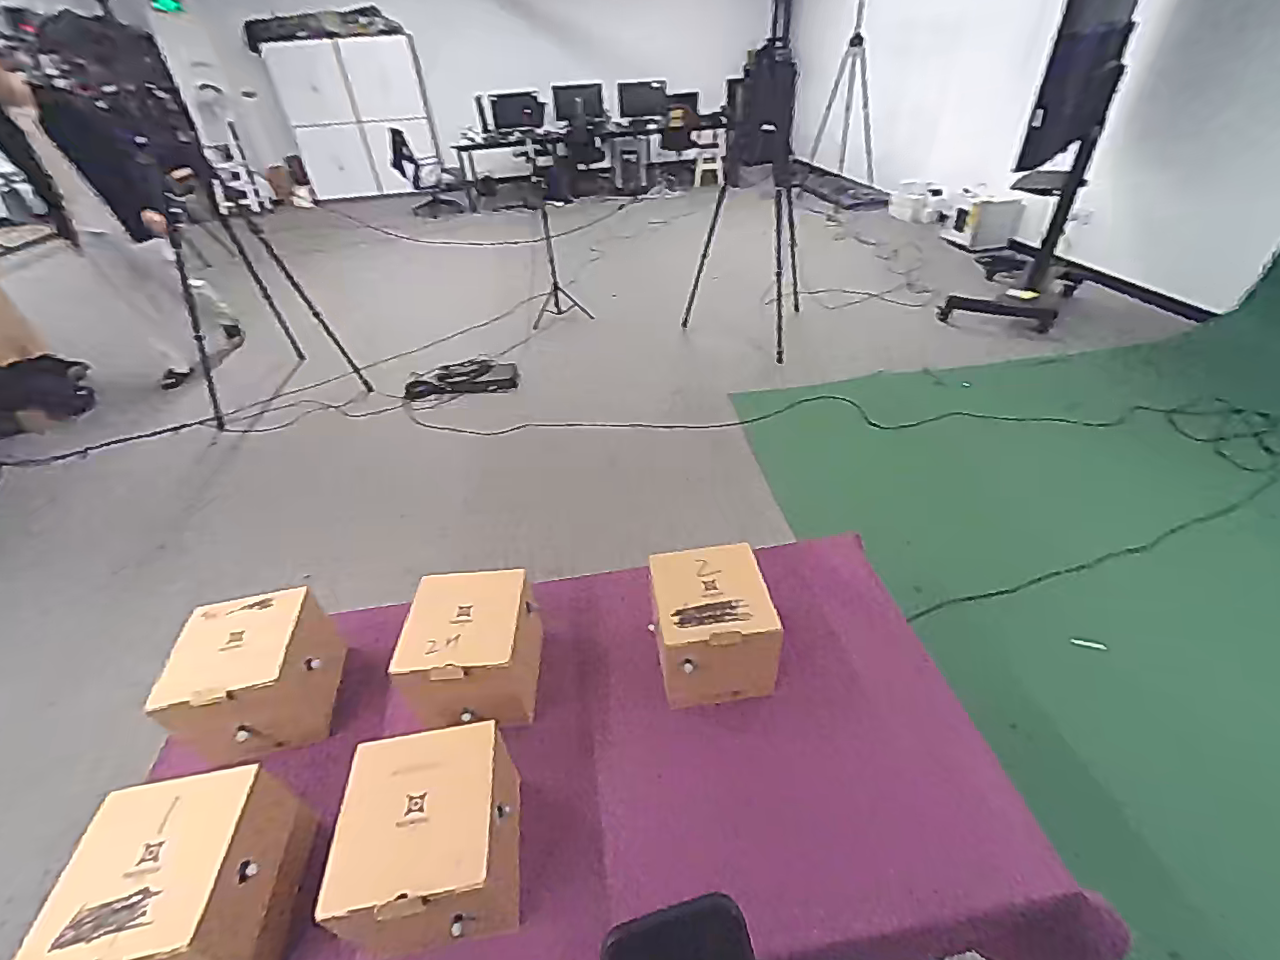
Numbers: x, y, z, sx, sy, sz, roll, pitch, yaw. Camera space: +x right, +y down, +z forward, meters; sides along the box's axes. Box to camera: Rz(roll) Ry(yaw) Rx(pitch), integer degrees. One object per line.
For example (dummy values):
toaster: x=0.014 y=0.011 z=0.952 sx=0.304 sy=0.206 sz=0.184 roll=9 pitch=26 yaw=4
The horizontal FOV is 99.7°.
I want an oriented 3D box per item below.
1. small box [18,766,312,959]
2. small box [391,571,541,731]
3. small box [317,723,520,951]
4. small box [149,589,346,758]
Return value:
small box: x=-0.511 y=0.465 z=0.616 sx=0.168 sy=0.176 sz=0.179 roll=-8 pitch=37 yaw=-6
small box: x=-0.255 y=0.265 z=0.843 sx=0.168 sy=0.176 sz=0.179 roll=-4 pitch=39 yaw=1
small box: x=-0.240 y=0.425 z=0.643 sx=0.168 sy=0.176 sz=0.179 roll=-8 pitch=37 yaw=-5
small box: x=-0.580 y=0.301 z=0.831 sx=0.168 sy=0.176 sz=0.179 roll=-10 pitch=40 yaw=-8
